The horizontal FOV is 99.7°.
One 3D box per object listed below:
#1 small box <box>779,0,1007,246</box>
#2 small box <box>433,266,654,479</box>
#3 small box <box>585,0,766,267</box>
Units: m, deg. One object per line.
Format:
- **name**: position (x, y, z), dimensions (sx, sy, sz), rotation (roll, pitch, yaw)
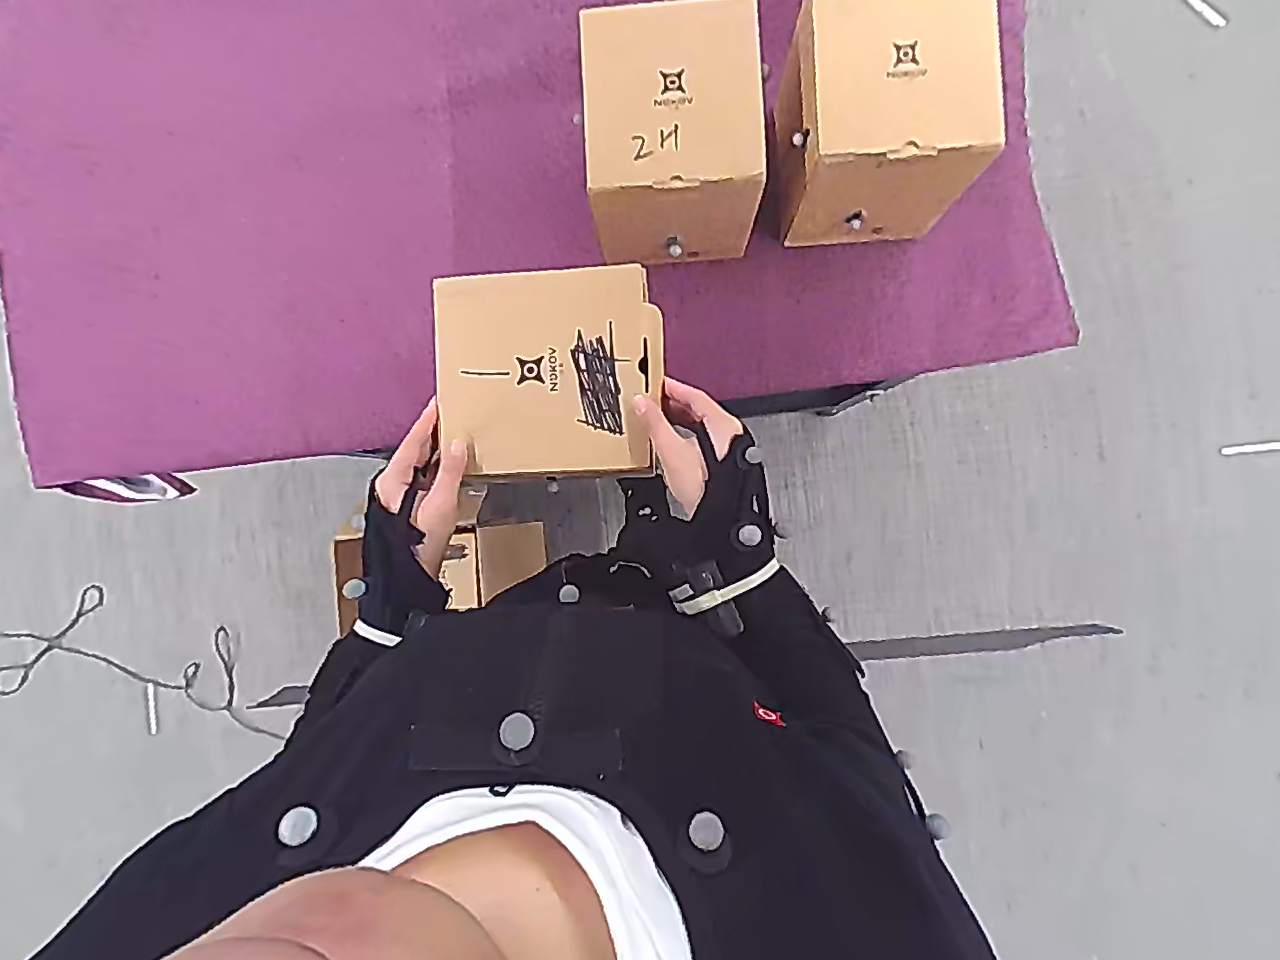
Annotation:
- **small box**: position (0.245, -0.371, 0.565), dimensions (0.168, 0.176, 0.179), rotation (-3, 88, 4)
- **small box**: position (-0.076, -0.087, 0.516), dimensions (0.179, 0.176, 0.168), rotation (-2, 88, 4)
- **small box**: position (0.035, -0.350, 0.576), dimensions (0.168, 0.176, 0.179), rotation (-2, 88, 4)
